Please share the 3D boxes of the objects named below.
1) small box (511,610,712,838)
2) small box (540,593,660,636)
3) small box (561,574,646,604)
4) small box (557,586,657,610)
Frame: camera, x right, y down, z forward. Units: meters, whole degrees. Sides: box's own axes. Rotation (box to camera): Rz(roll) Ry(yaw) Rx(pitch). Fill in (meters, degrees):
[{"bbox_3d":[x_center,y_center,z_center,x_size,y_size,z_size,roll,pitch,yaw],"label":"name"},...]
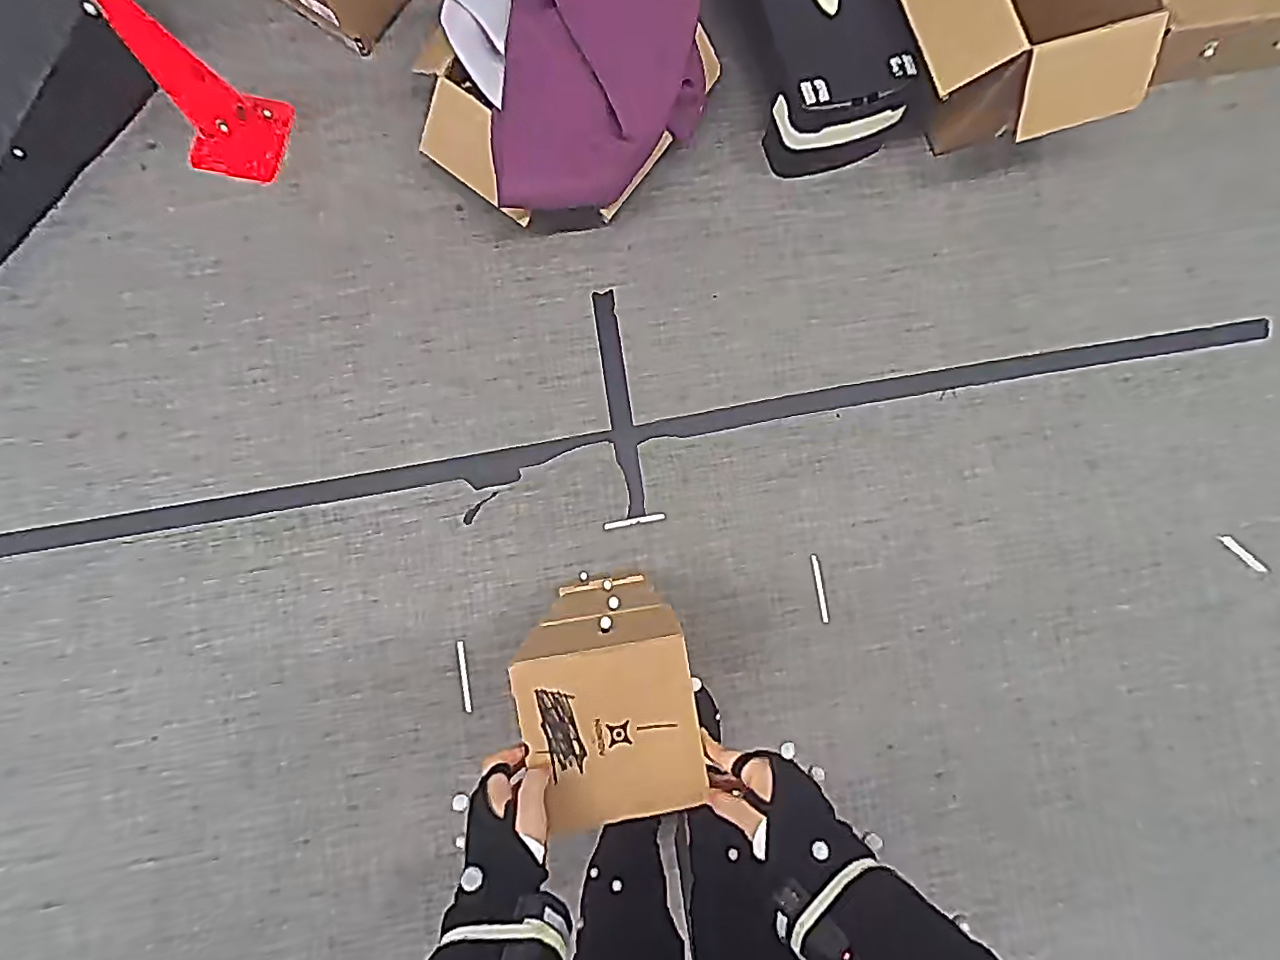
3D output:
[{"bbox_3d":[-0.029,0.251,0.598,0.179,0.176,0.168,-9,88,-2],"label":"small box"},{"bbox_3d":[-0.040,0.270,0.773,0.168,0.176,0.179,-8,86,-3],"label":"small box"},{"bbox_3d":[-0.063,0.291,1.101,0.168,0.176,0.179,-9,87,-3],"label":"small box"},{"bbox_3d":[-0.046,0.283,0.937,0.168,0.176,0.179,-9,85,-2],"label":"small box"}]
